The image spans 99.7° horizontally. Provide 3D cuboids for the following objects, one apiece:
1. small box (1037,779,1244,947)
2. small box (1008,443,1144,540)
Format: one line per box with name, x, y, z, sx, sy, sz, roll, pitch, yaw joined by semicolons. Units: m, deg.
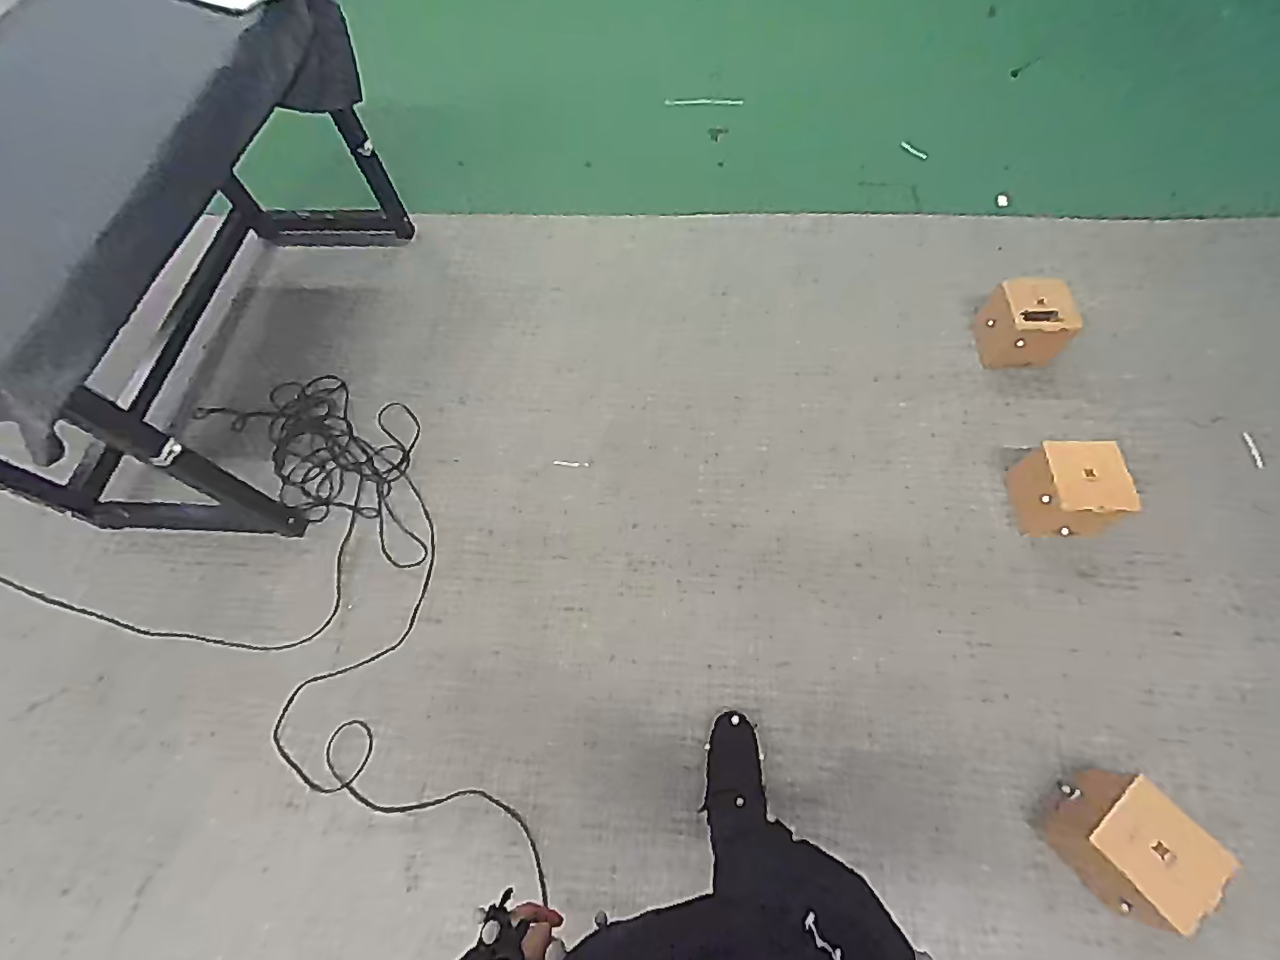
small box;0.880;0.666;0.971;0.168;0.176;0.179;-36;66;-15
small box;1.009;0.029;1.274;0.168;0.176;0.179;0;65;4
